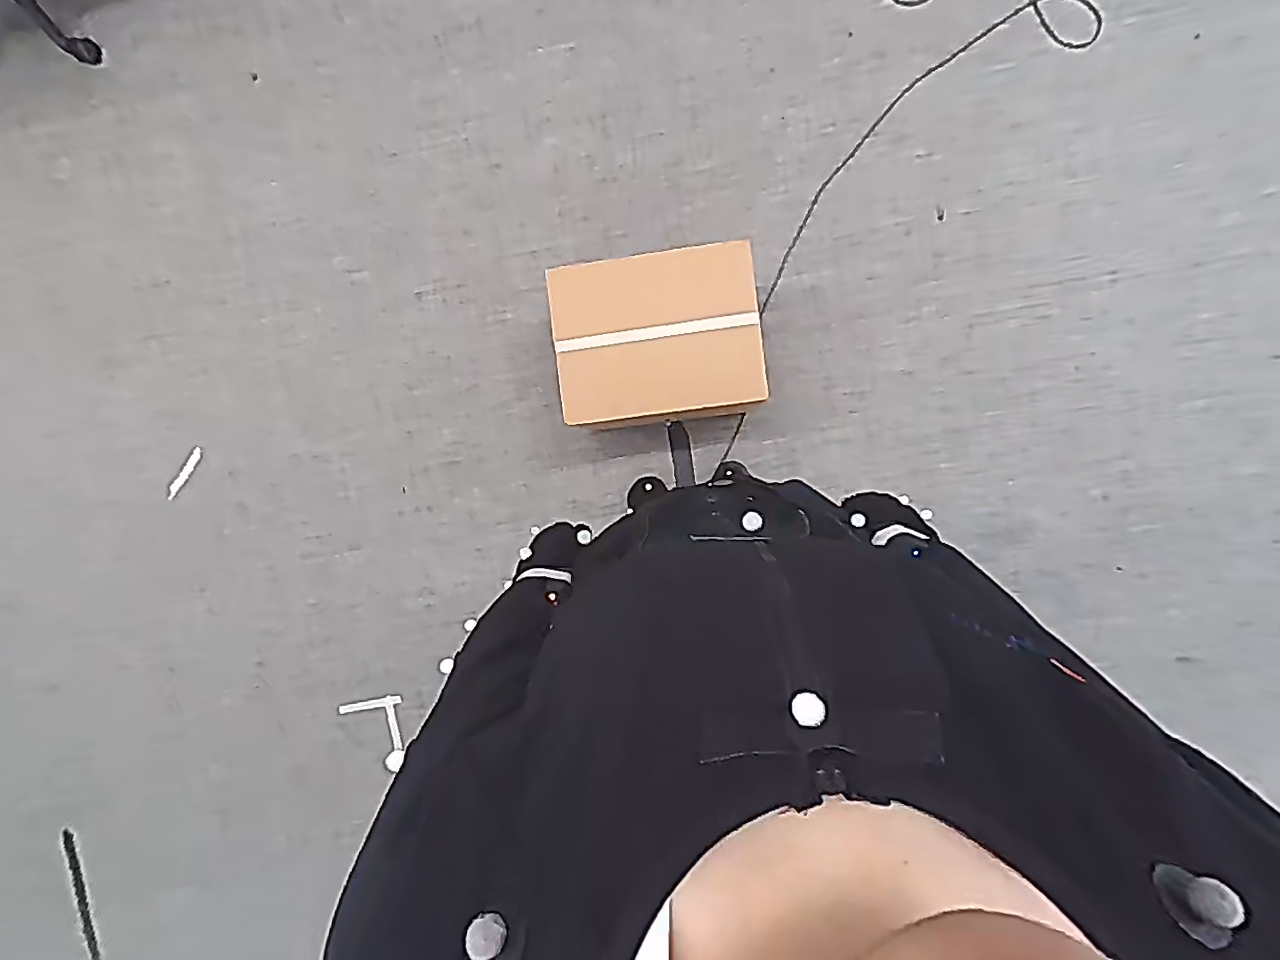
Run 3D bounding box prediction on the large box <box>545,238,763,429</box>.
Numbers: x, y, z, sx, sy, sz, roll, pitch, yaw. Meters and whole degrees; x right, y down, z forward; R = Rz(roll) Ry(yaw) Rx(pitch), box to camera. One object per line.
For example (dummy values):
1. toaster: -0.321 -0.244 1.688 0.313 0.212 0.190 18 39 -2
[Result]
1. large box: 0.033 -0.299 1.214 0.408 0.320 0.320 -7 93 4
